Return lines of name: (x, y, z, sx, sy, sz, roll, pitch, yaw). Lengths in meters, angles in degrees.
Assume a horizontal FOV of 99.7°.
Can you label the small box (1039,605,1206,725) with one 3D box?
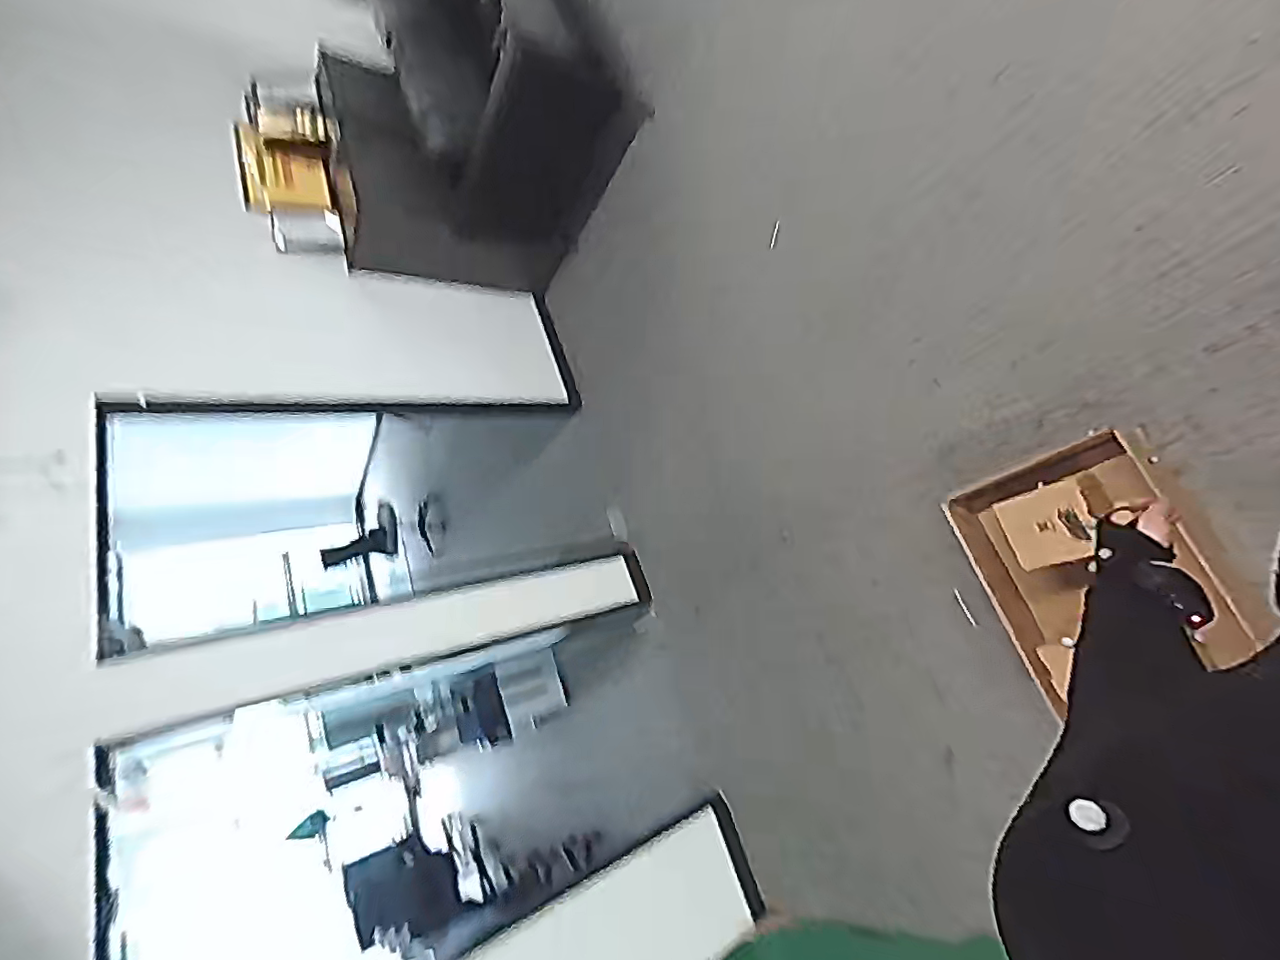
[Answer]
small box: (0.956, 0.365, 1.074, 0.179, 0.176, 0.168, -44, 61, 47)
